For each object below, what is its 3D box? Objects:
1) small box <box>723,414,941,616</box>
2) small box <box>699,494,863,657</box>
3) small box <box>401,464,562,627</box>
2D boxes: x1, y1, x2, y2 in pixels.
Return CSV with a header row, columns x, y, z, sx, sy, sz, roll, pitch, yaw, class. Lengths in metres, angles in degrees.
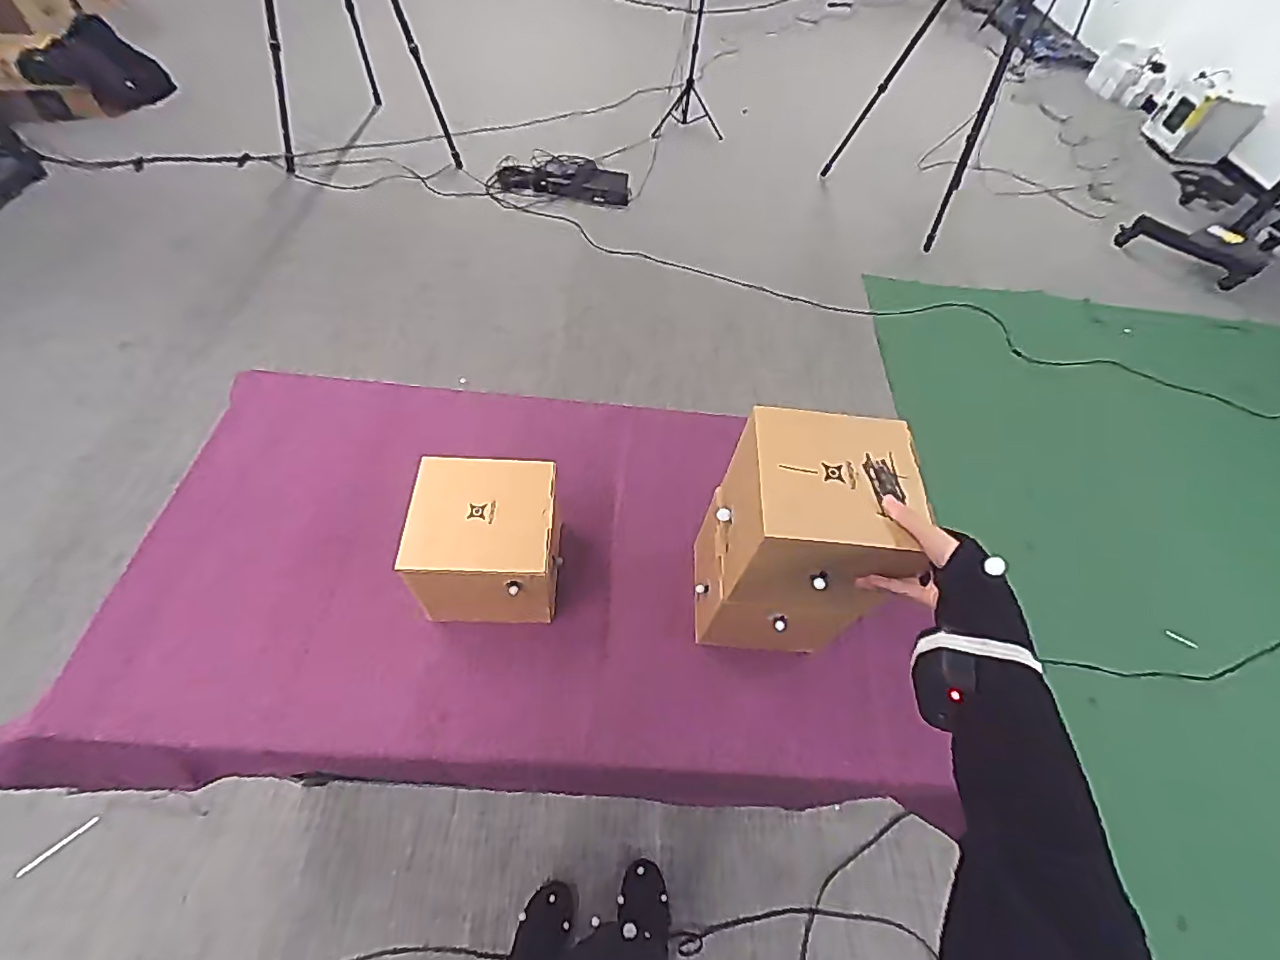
x,y,z,sx,sy,sz,roll,pitch,yaw,class
0.200,0.047,0.620,0.179,0.176,0.168,5,56,-2,small box
0.180,0.139,0.755,0.179,0.176,0.168,6,55,-3,small box
-0.201,0.095,0.742,0.179,0.176,0.168,2,54,-6,small box
